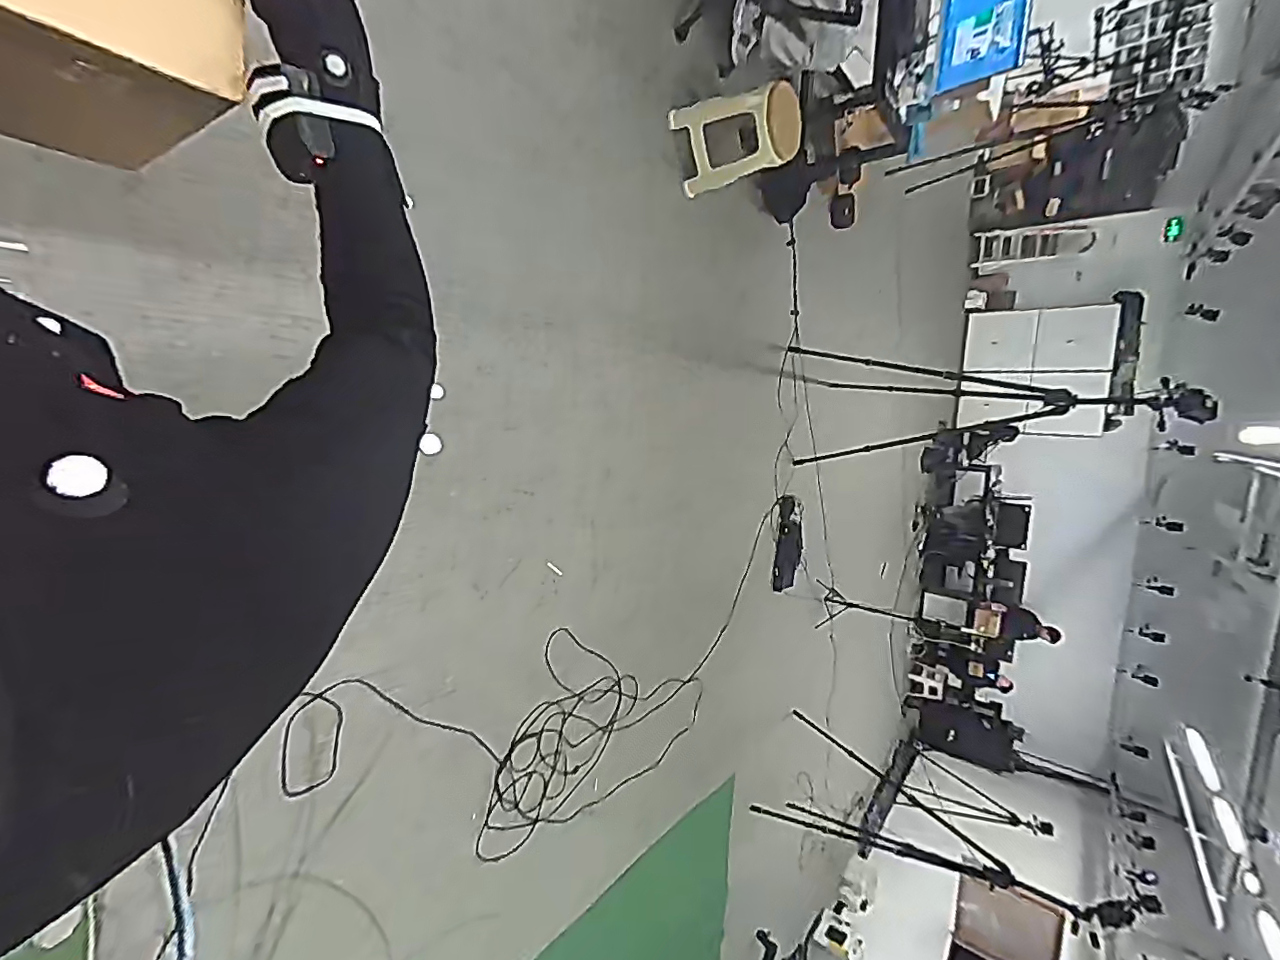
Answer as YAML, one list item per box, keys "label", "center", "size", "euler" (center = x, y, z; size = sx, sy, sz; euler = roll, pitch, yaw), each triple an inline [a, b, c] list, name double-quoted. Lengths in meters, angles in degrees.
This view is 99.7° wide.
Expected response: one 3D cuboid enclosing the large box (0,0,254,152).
- label: "large box"
  center: [-0.519, -0.452, 0.309]
  size: [0.408, 0.320, 0.320]
  euler: [-8, 107, -54]
